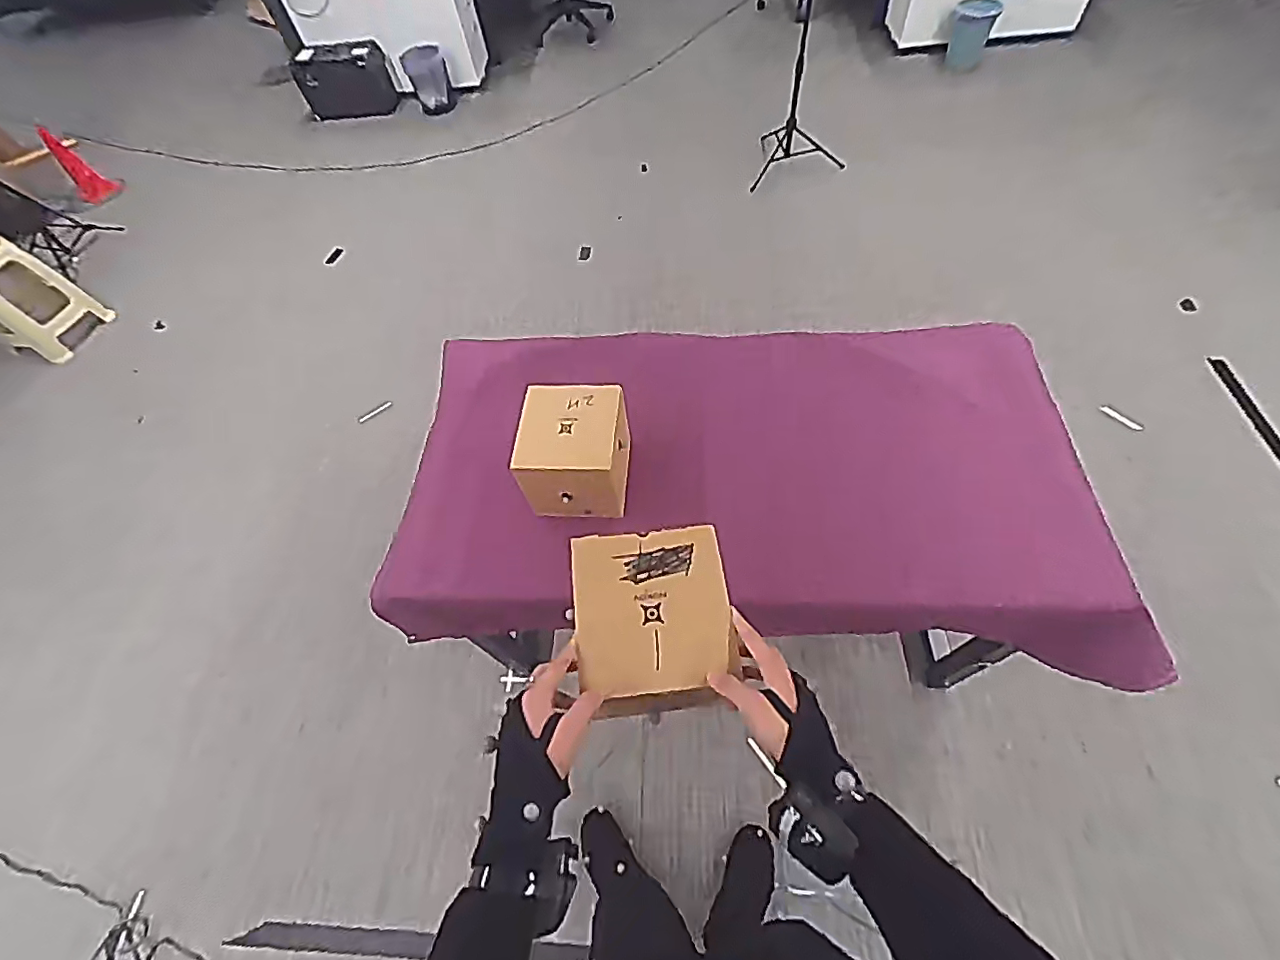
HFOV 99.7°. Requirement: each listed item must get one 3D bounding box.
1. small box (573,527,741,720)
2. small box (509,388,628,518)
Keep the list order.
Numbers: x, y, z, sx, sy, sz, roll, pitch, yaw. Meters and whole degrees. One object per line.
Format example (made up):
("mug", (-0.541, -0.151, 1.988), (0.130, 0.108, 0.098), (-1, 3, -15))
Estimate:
("small box", (0.011, 0.175, 0.642), (0.168, 0.176, 0.179), (-6, 61, -3))
("small box", (-0.115, -0.044, 0.963), (0.168, 0.176, 0.179), (2, 59, 6))
